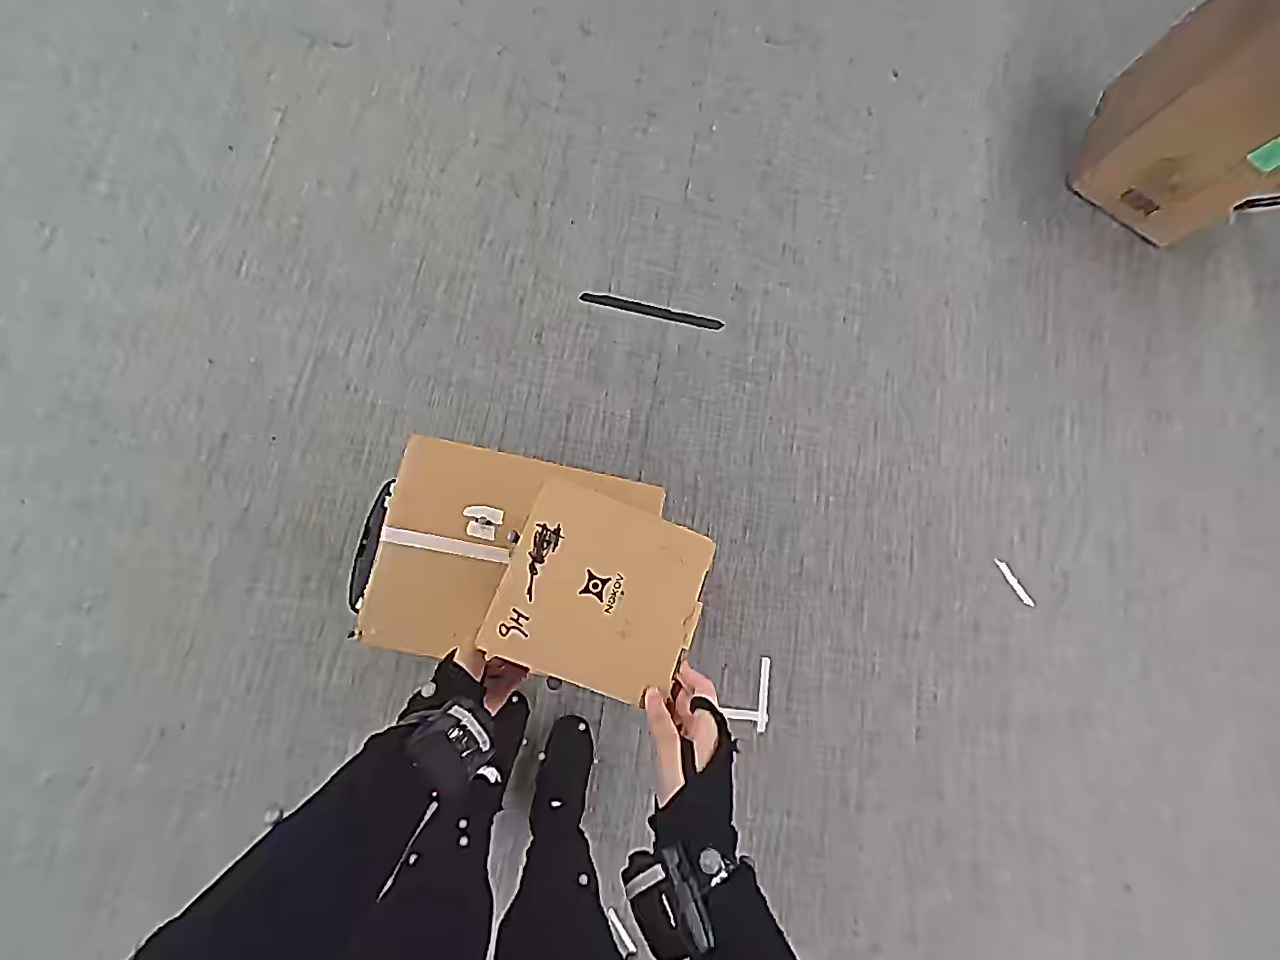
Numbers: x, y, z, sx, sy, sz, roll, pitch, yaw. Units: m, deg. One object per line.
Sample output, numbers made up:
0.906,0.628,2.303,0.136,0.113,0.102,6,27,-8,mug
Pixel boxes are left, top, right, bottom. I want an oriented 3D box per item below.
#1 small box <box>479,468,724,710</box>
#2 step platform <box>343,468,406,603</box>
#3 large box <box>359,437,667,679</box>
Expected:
-0.044,0.112,0.551,0.179,0.176,0.168,23,70,-6,small box
-0.252,0.205,1.172,0.684,0.204,0.286,17,77,-5,step platform
-0.194,0.146,0.948,0.408,0.320,0.320,12,76,-6,large box
